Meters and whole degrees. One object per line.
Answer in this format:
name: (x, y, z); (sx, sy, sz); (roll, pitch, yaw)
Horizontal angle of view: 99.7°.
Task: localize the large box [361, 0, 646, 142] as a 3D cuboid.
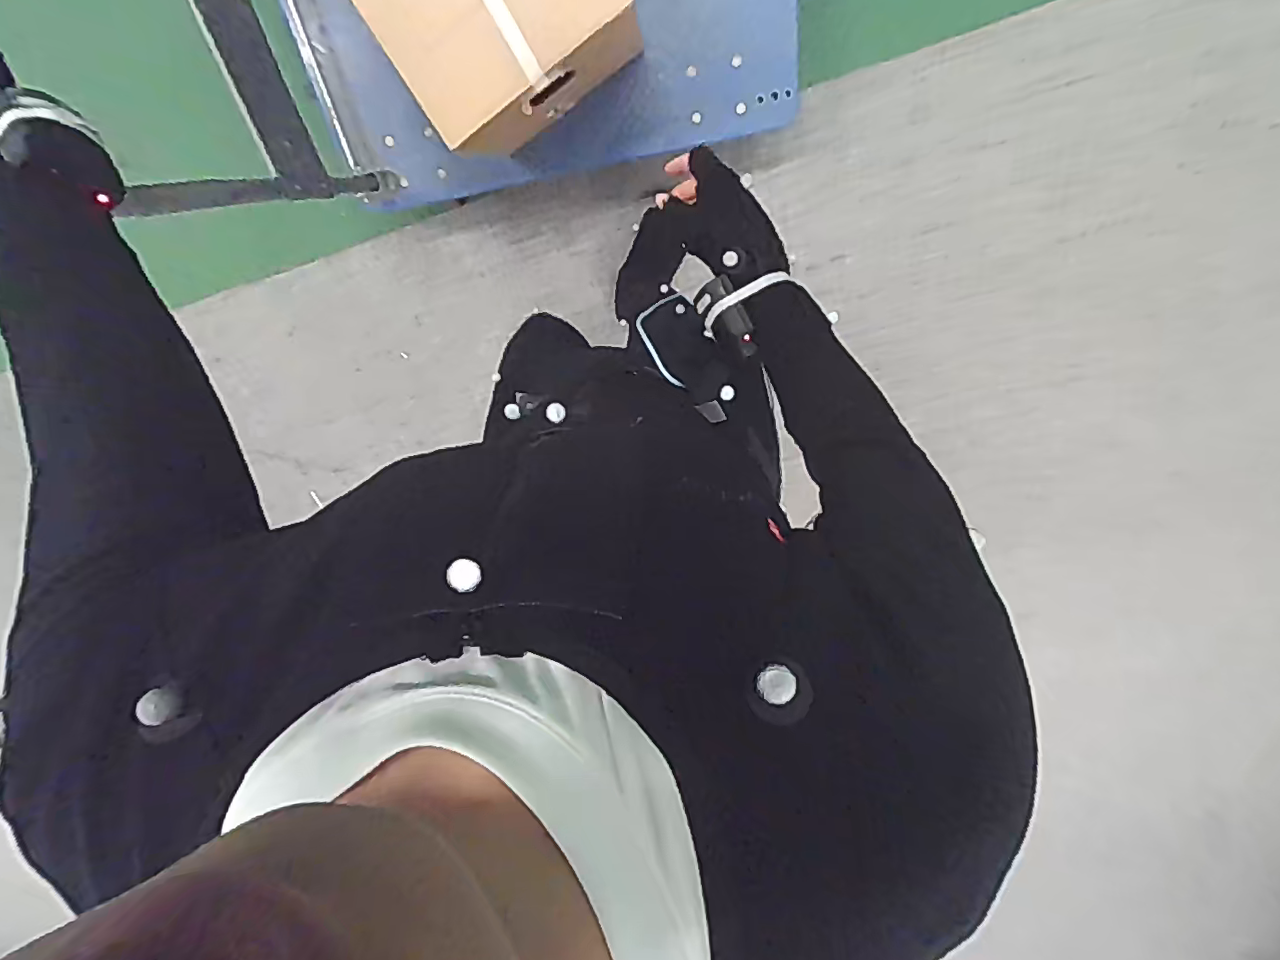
large box: (-0.228, -0.771, 0.767); (0.320, 0.320, 0.408); (-26, 115, 17)
